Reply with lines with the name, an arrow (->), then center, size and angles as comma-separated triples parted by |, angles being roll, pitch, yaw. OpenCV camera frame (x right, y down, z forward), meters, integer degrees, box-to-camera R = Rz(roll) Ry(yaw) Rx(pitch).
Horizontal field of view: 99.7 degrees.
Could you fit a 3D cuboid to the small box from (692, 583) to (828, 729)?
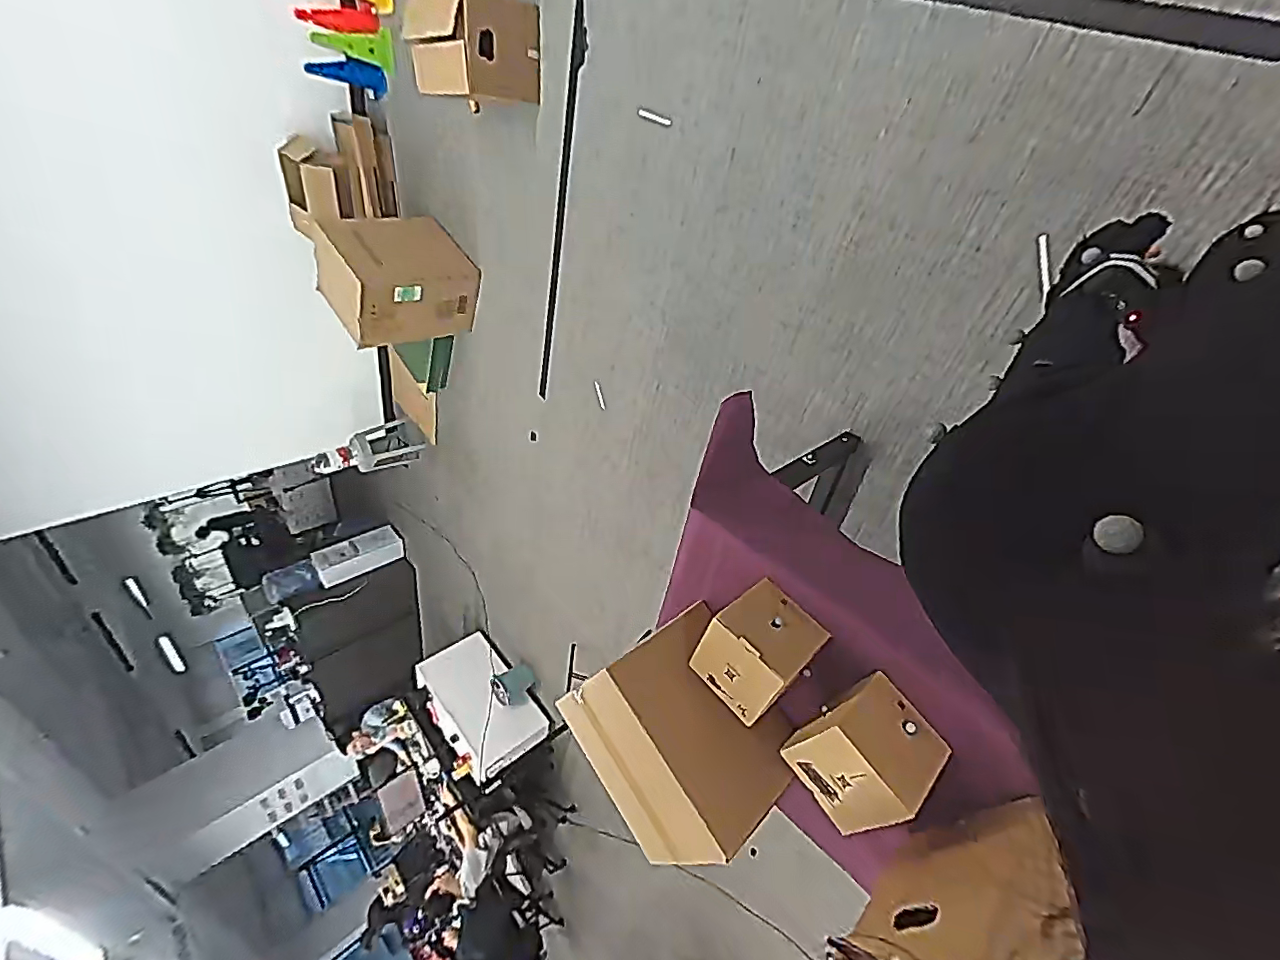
small box -> 0.234, 0.332, 1.047 | 0.168, 0.176, 0.179 | 42, 136, 29
